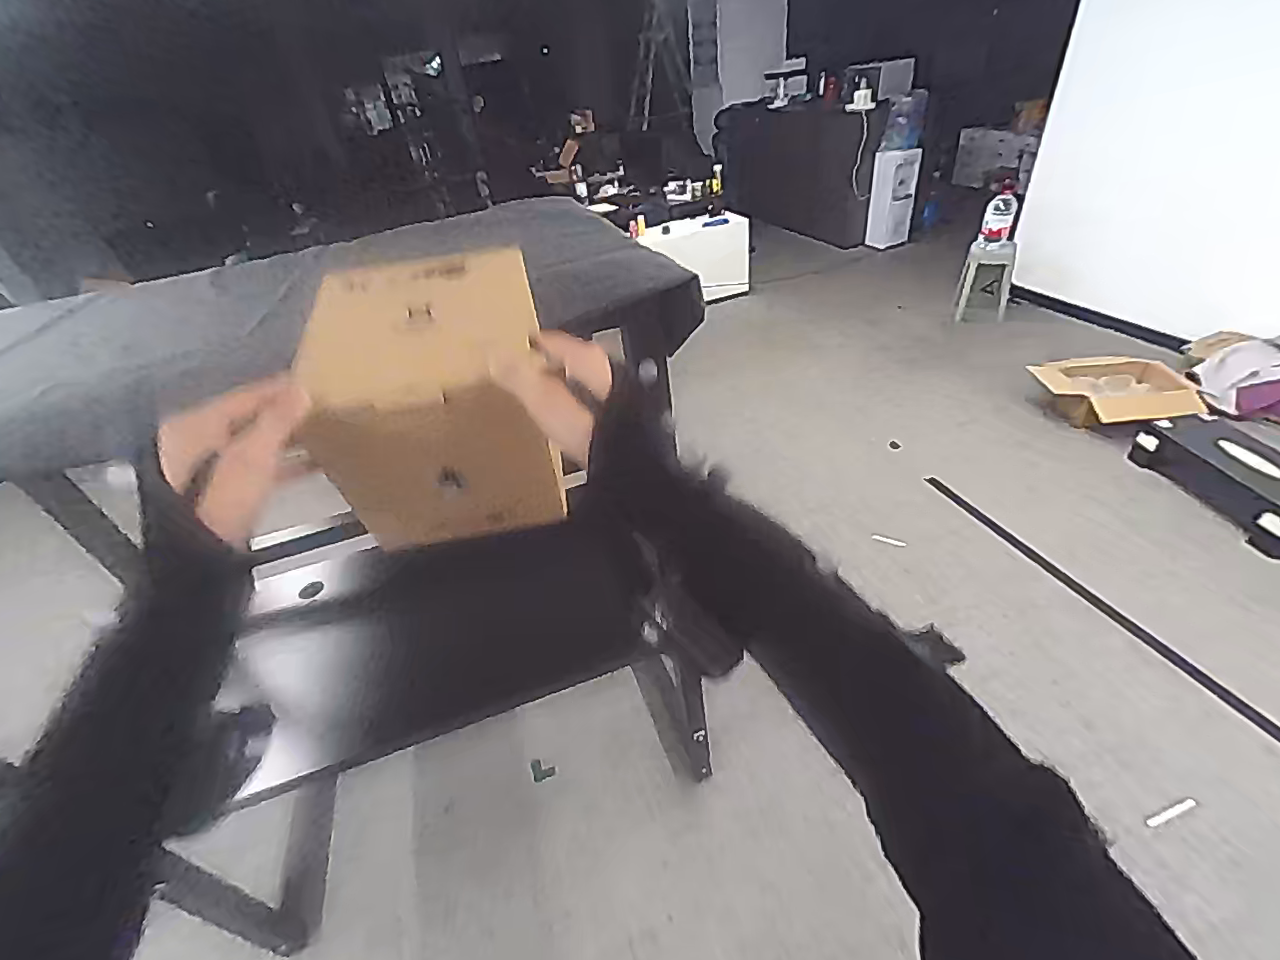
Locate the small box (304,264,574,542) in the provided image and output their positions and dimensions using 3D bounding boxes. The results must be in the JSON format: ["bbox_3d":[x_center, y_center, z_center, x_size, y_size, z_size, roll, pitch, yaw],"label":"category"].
[{"bbox_3d":[-0.156,-0.059,0.480,0.168,0.176,0.179,-10,52,-5],"label":"small box"}]
